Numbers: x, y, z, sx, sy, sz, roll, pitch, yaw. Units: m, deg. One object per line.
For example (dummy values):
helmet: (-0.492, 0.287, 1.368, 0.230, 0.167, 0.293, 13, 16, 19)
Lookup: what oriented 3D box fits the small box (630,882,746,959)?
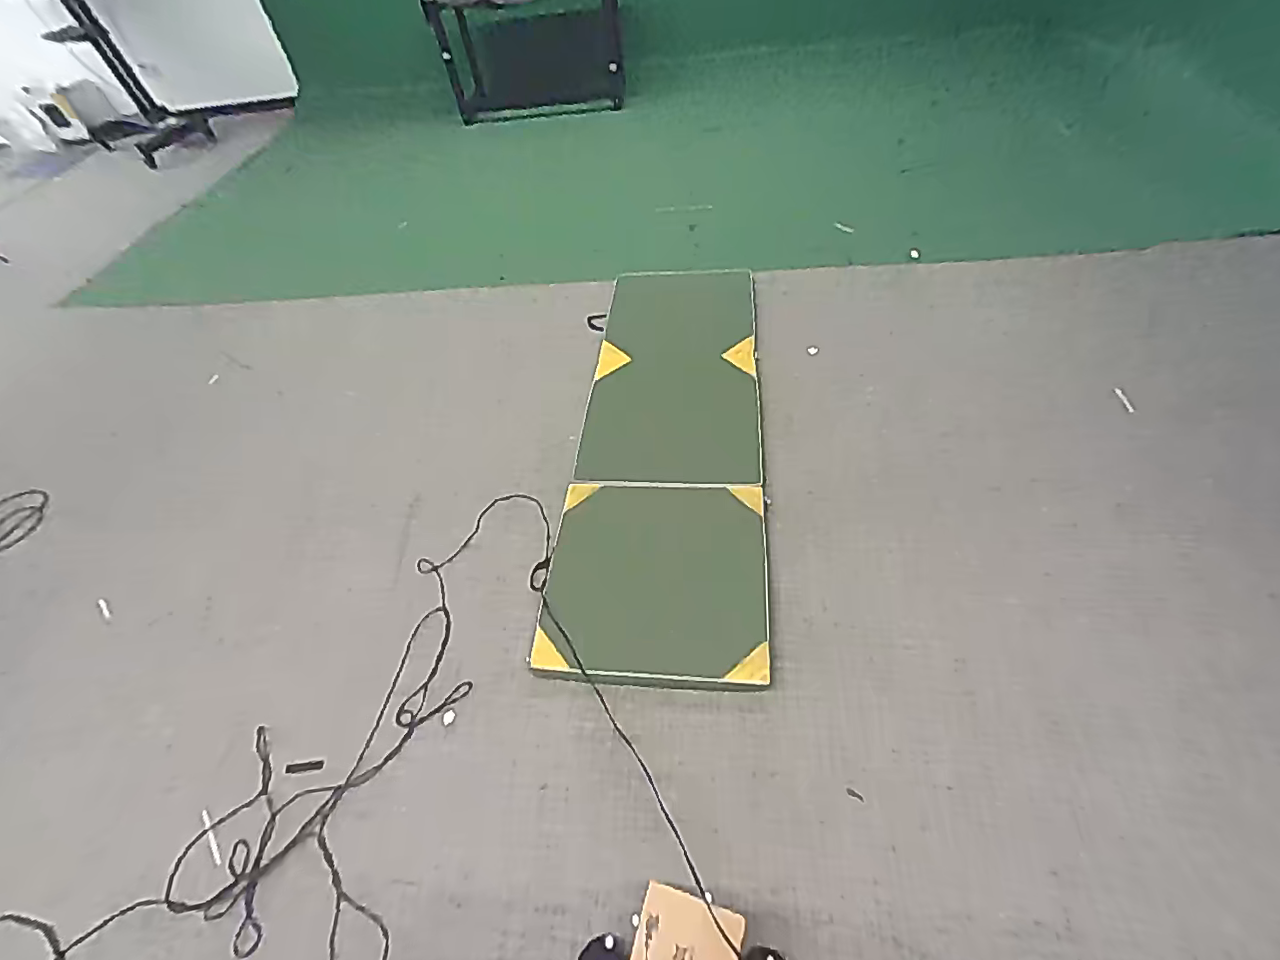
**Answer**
small box: (0.081, 0.837, 0.952, 0.179, 0.176, 0.168, 11, 53, 15)
